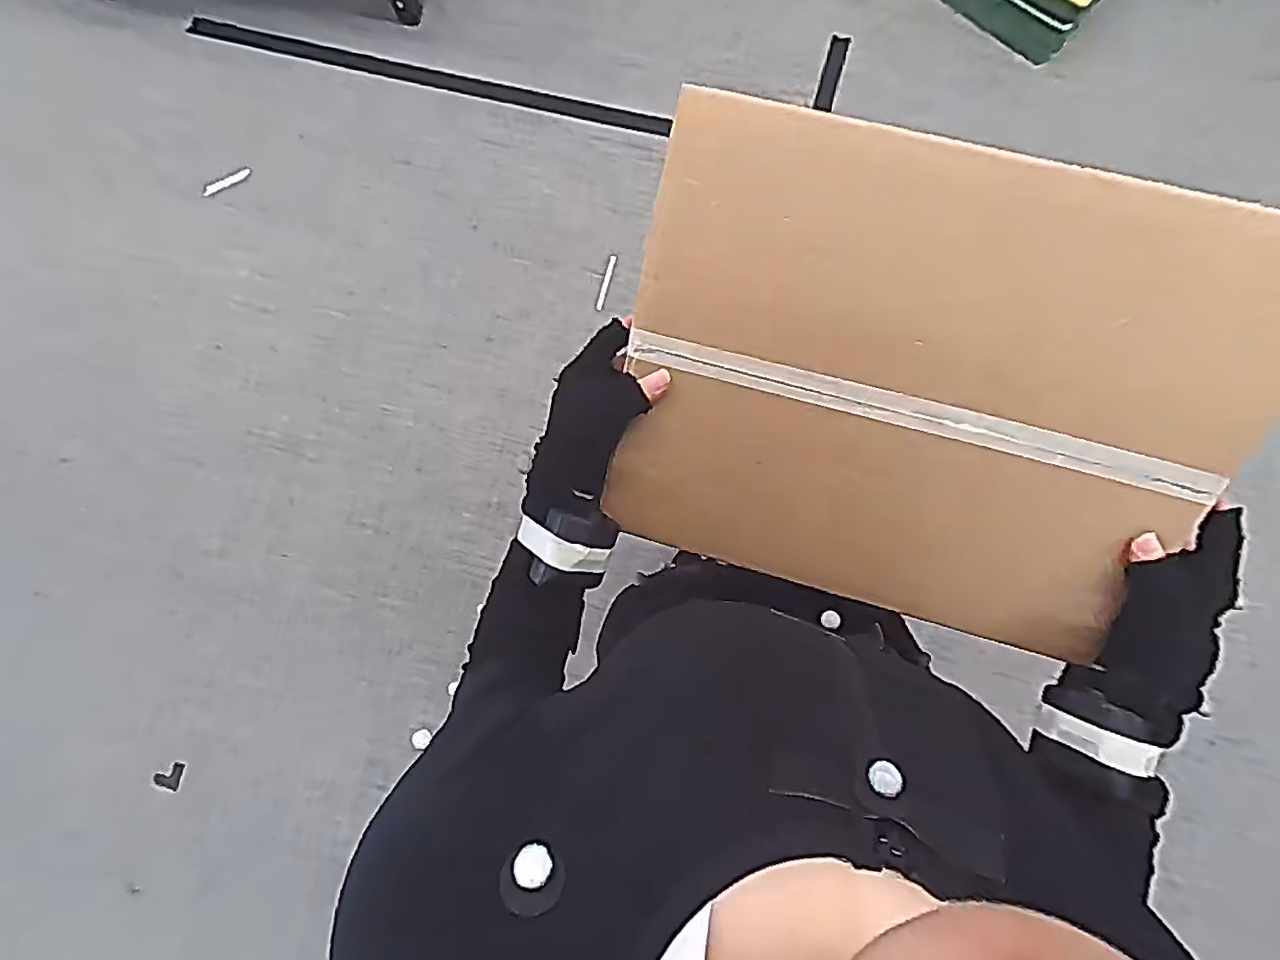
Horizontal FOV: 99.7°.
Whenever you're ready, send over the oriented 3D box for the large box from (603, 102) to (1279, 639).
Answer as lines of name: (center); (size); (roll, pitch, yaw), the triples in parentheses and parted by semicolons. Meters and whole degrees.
large box: (0.212, -0.113, 0.521); (0.408, 0.320, 0.320); (16, 116, 5)
